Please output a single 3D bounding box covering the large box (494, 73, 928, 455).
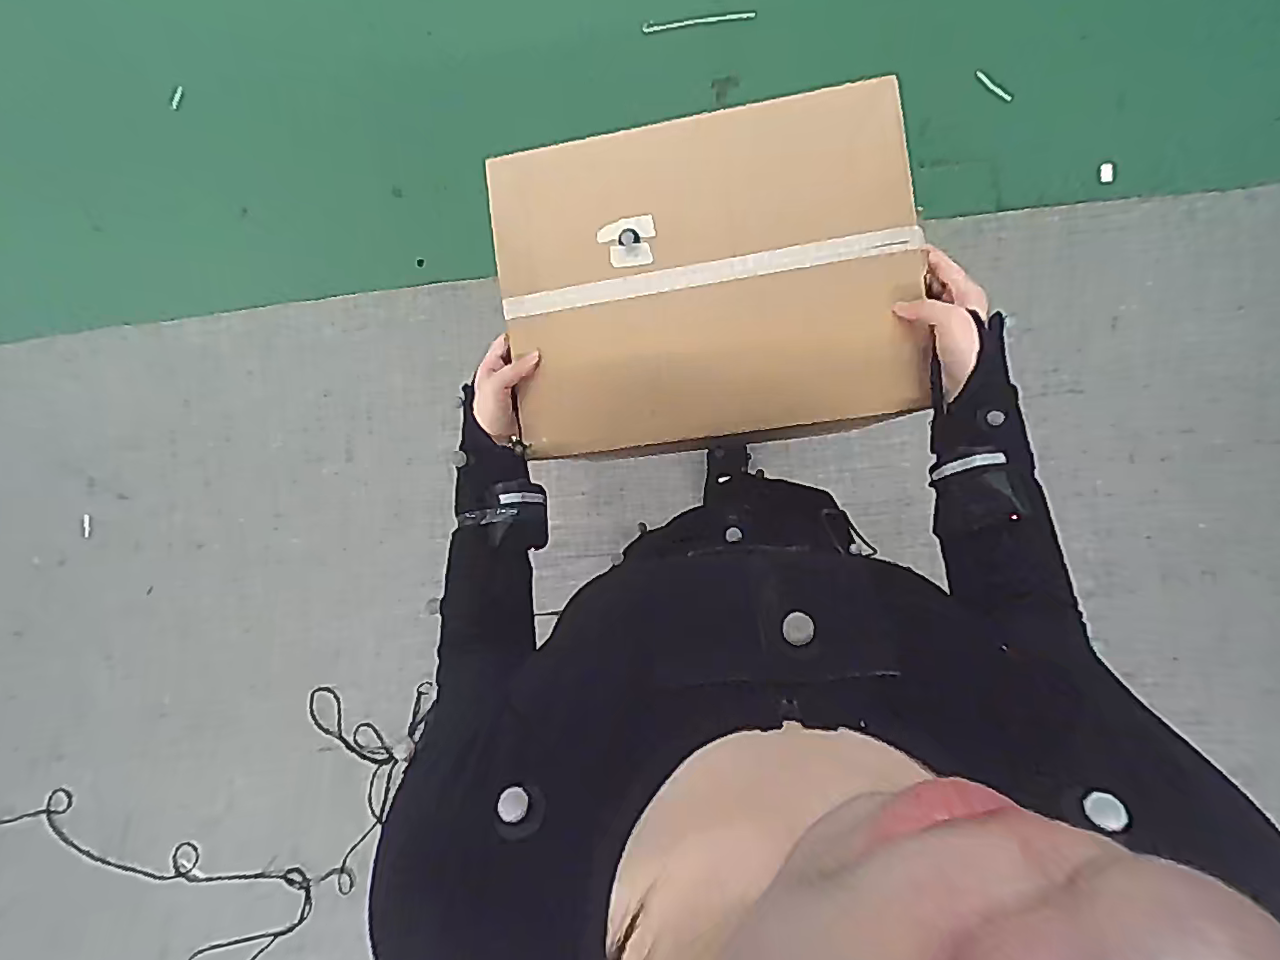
[{"bbox_3d":[0.084,-0.212,0.687,0.408,0.320,0.320,-8,90,9],"label":"large box"}]
